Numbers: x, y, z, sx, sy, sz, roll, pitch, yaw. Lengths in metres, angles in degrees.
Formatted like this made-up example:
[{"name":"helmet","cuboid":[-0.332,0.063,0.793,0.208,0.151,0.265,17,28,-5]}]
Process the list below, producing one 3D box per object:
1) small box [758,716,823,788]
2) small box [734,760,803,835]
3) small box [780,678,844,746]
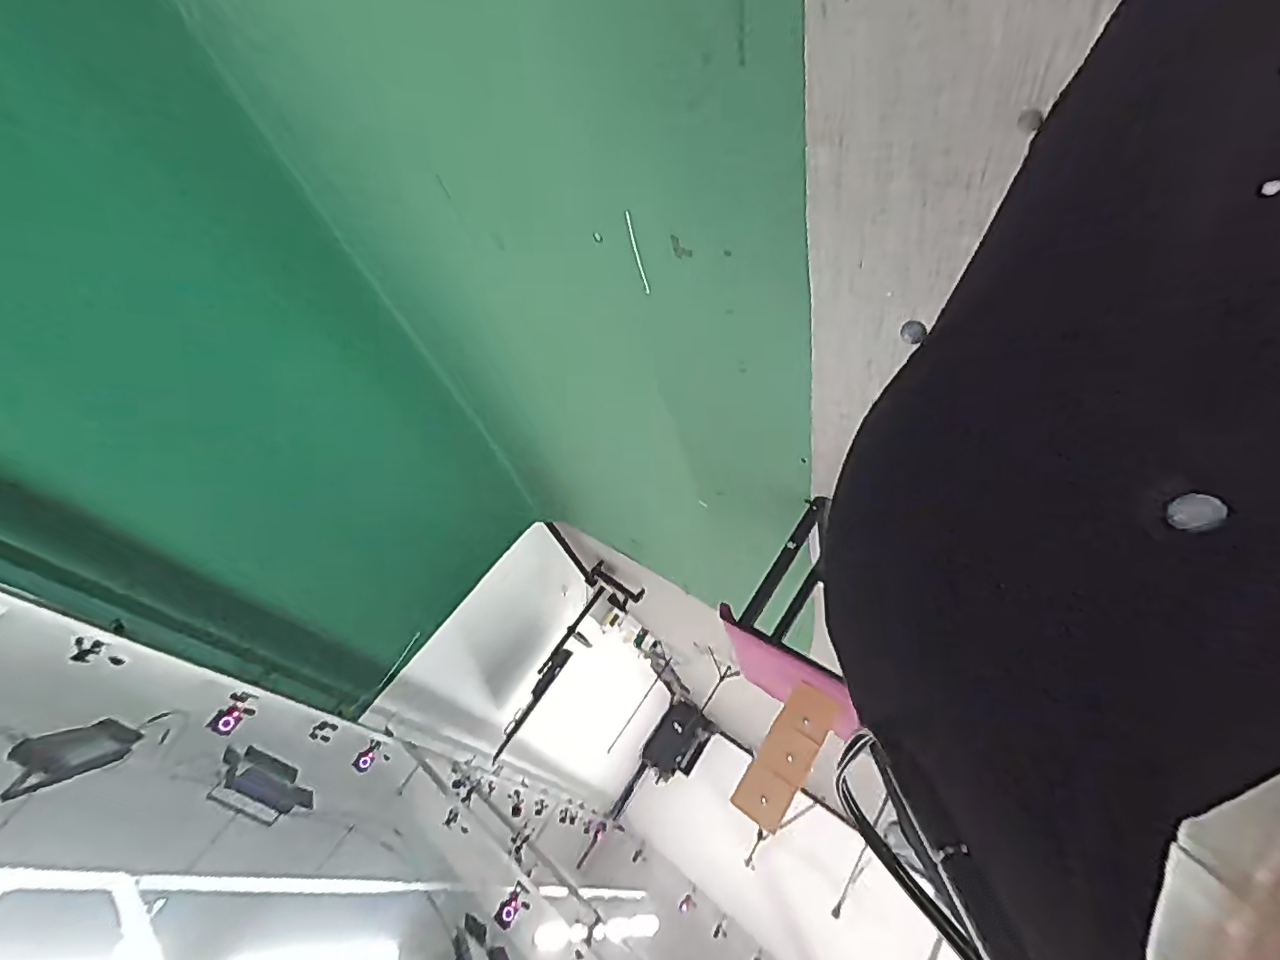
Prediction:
[{"name":"small box","cuboid":[0.545,0.989,1.961,0.179,0.176,0.168,26,155,25]},{"name":"small box","cuboid":[0.450,1.110,1.904,0.179,0.176,0.168,26,156,27]},{"name":"small box","cuboid":[0.640,0.869,2.020,0.179,0.176,0.168,29,157,23]}]
